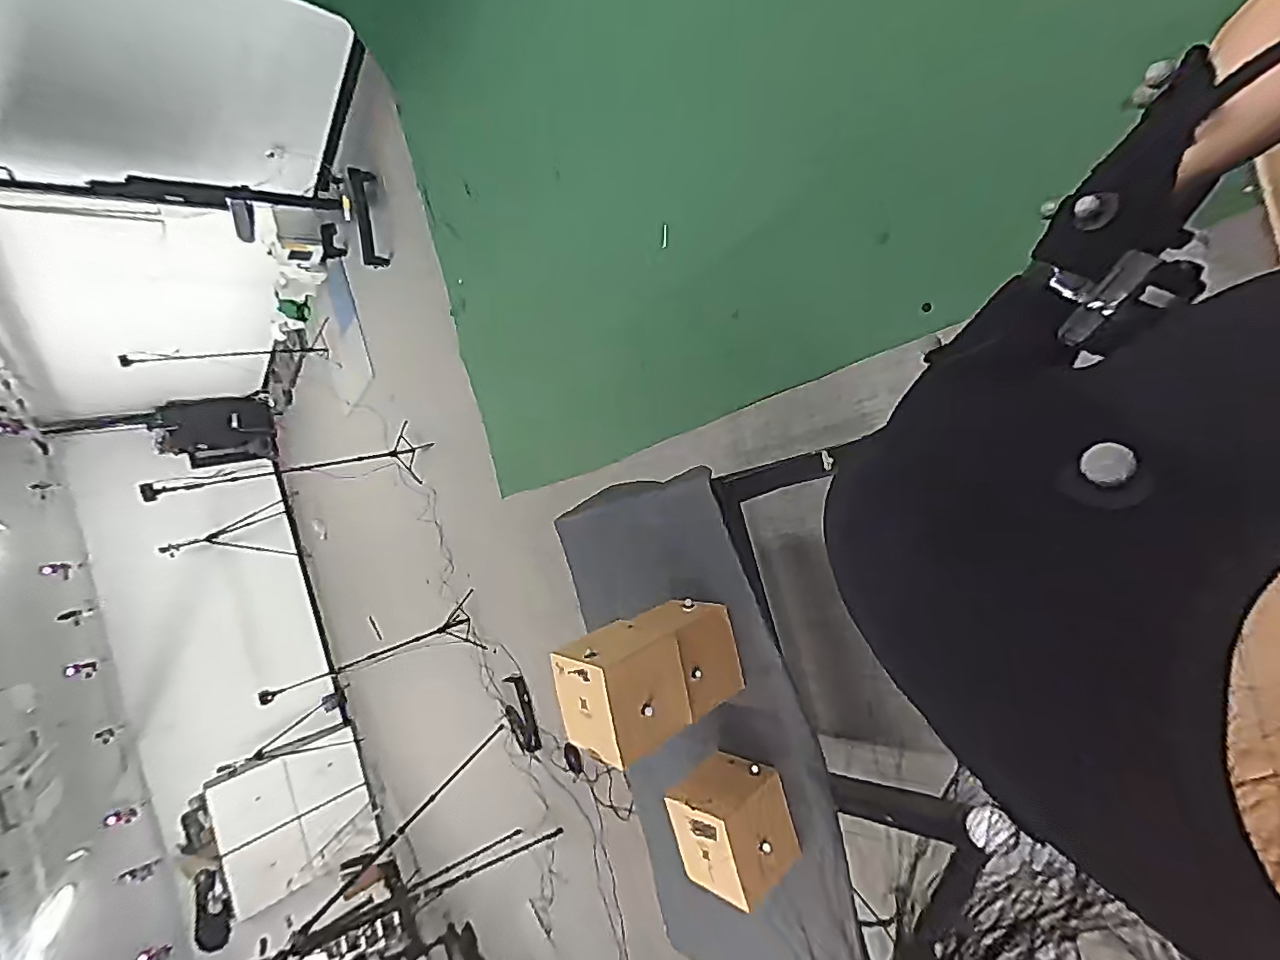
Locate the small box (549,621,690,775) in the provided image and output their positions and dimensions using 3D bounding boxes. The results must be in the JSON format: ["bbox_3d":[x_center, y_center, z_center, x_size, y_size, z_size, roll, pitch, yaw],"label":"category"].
[{"bbox_3d":[-0.032,0.370,0.955,0.168,0.176,0.179,-7,96,49],"label":"small box"}]

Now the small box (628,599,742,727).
[{"bbox_3d":[0.080,0.352,1.075,0.168,0.176,0.179,-12,92,49],"label":"small box"}]

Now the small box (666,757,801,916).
[{"bbox_3d":[0.184,0.675,1.054,0.168,0.176,0.179,-16,91,50],"label":"small box"}]
